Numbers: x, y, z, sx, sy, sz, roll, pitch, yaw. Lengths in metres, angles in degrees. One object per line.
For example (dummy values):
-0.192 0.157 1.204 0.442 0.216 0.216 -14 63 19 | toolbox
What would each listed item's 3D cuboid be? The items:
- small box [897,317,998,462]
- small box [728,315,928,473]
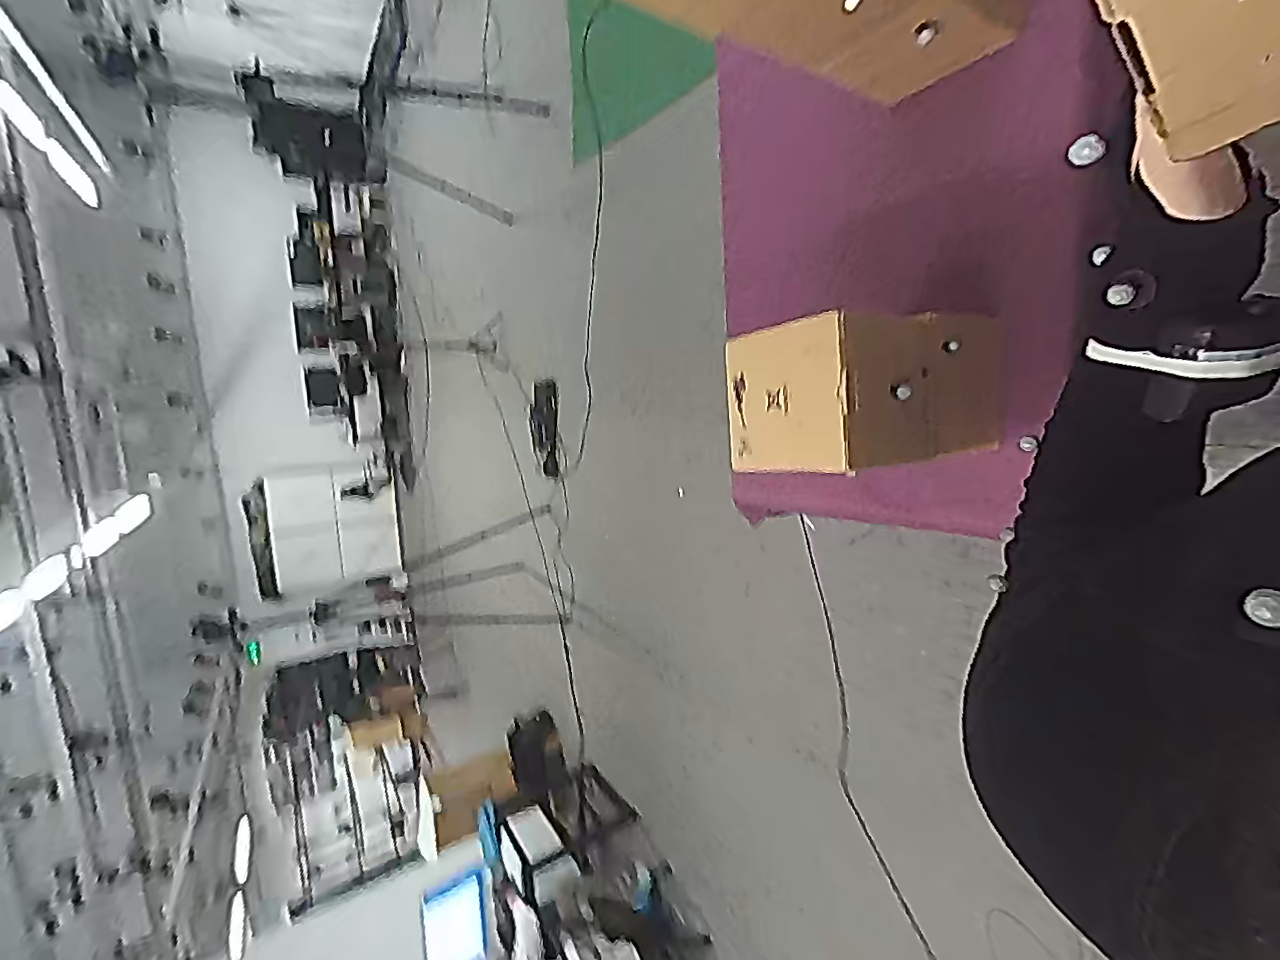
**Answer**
0.372 -0.119 0.753 0.168 0.176 0.179 4 98 58 | small box
0.232 -0.100 0.668 0.179 0.176 0.168 3 97 57 | small box
